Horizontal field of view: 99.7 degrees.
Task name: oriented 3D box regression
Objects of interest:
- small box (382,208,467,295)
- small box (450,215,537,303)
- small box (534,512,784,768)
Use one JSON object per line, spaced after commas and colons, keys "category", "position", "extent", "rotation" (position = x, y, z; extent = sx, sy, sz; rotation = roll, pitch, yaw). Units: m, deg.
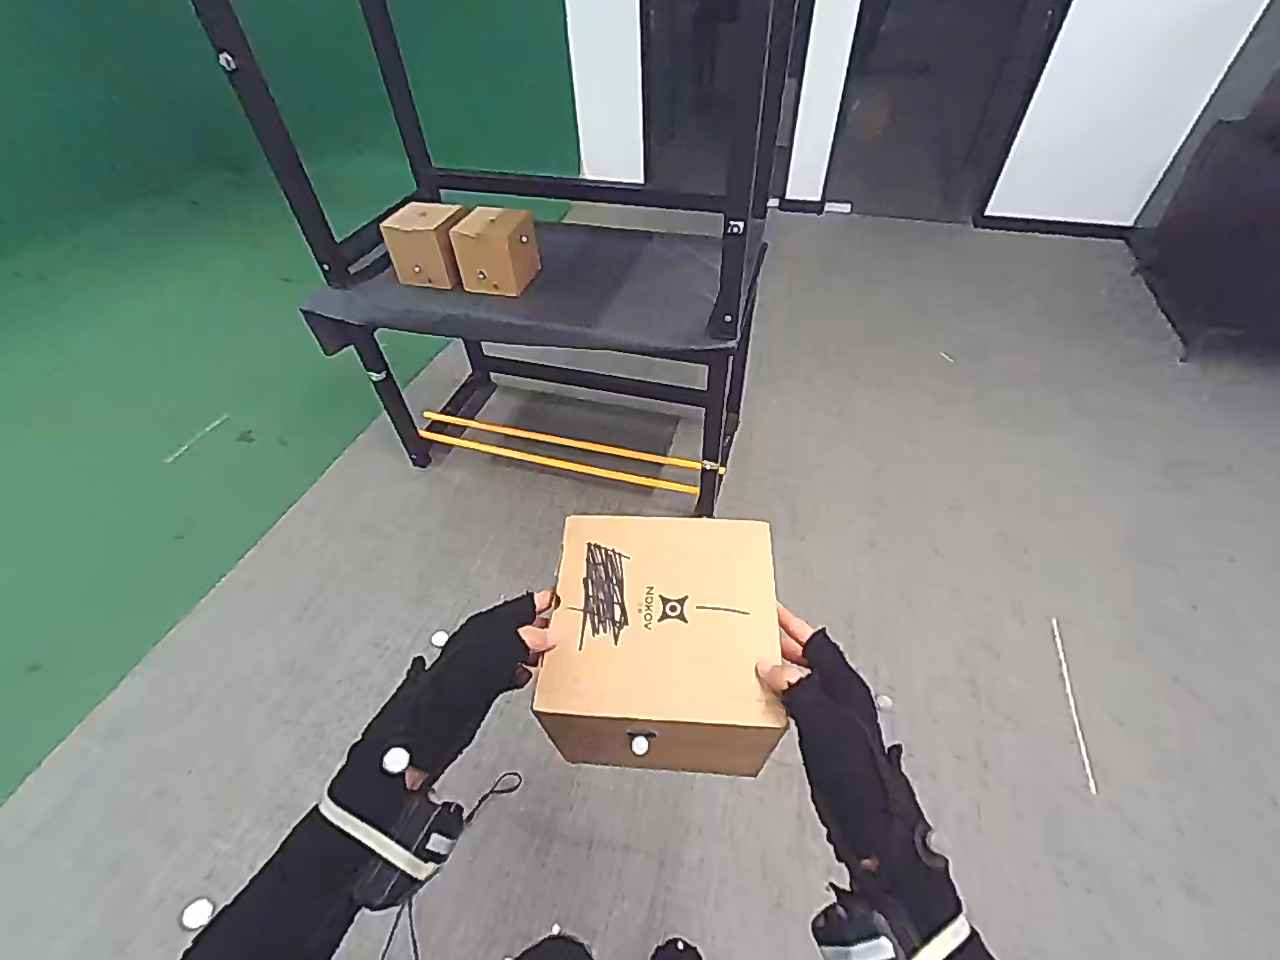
{"category": "small box", "position": [-0.598, -0.658, 1.555], "extent": [0.168, 0.176, 0.179], "rotation": [10, 48, 11]}
{"category": "small box", "position": [-0.400, -0.623, 1.520], "extent": [0.168, 0.176, 0.179], "rotation": [9, 47, 12]}
{"category": "small box", "position": [0.021, 0.145, 0.480], "extent": [0.179, 0.176, 0.168], "rotation": [2, 51, 4]}
